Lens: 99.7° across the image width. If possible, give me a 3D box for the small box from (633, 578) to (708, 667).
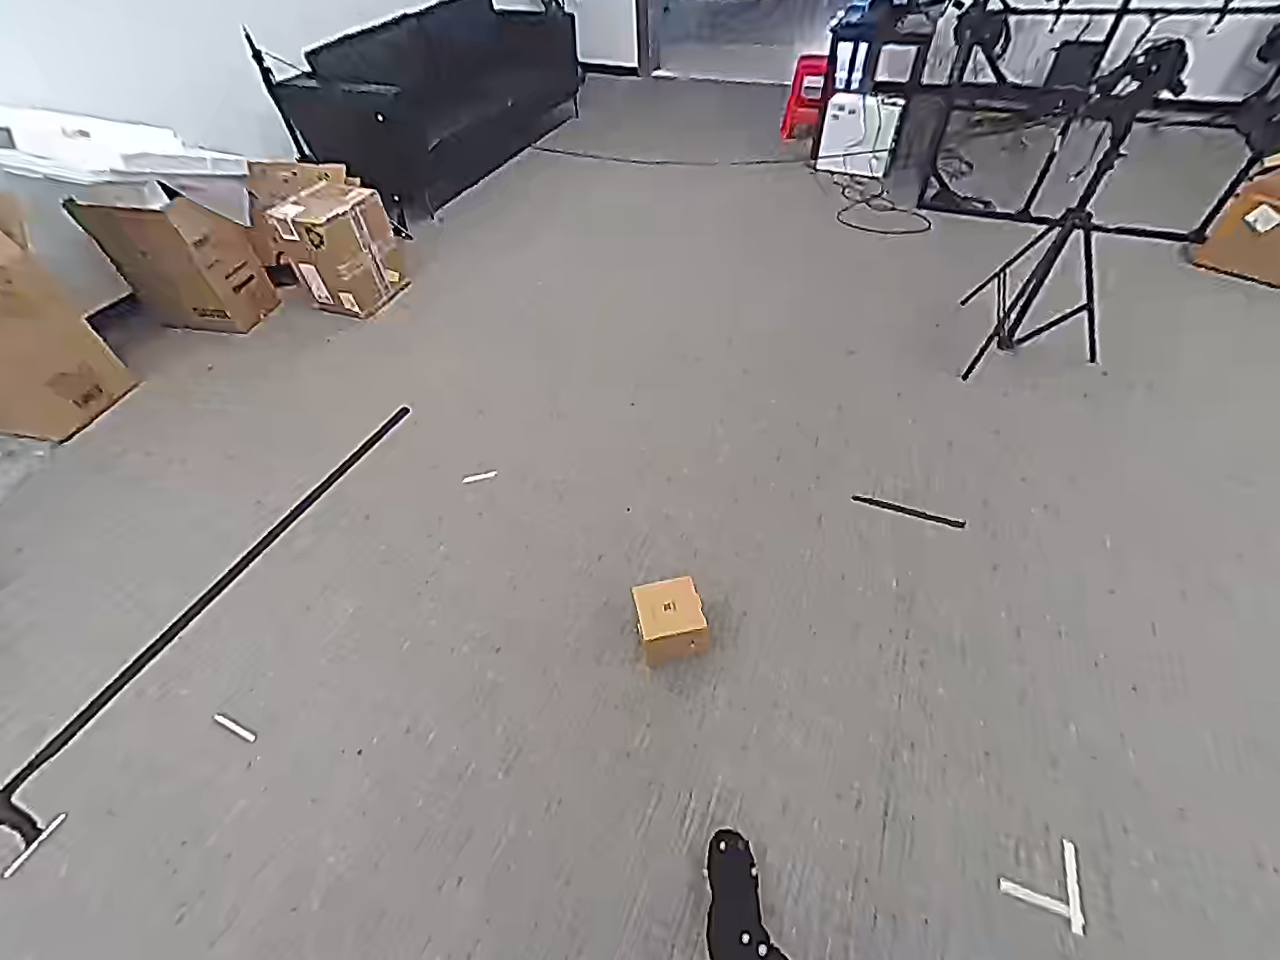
[{"bbox_3d":[0.084,0.404,1.528,0.179,0.176,0.168,-12,48,-6],"label":"small box"}]
